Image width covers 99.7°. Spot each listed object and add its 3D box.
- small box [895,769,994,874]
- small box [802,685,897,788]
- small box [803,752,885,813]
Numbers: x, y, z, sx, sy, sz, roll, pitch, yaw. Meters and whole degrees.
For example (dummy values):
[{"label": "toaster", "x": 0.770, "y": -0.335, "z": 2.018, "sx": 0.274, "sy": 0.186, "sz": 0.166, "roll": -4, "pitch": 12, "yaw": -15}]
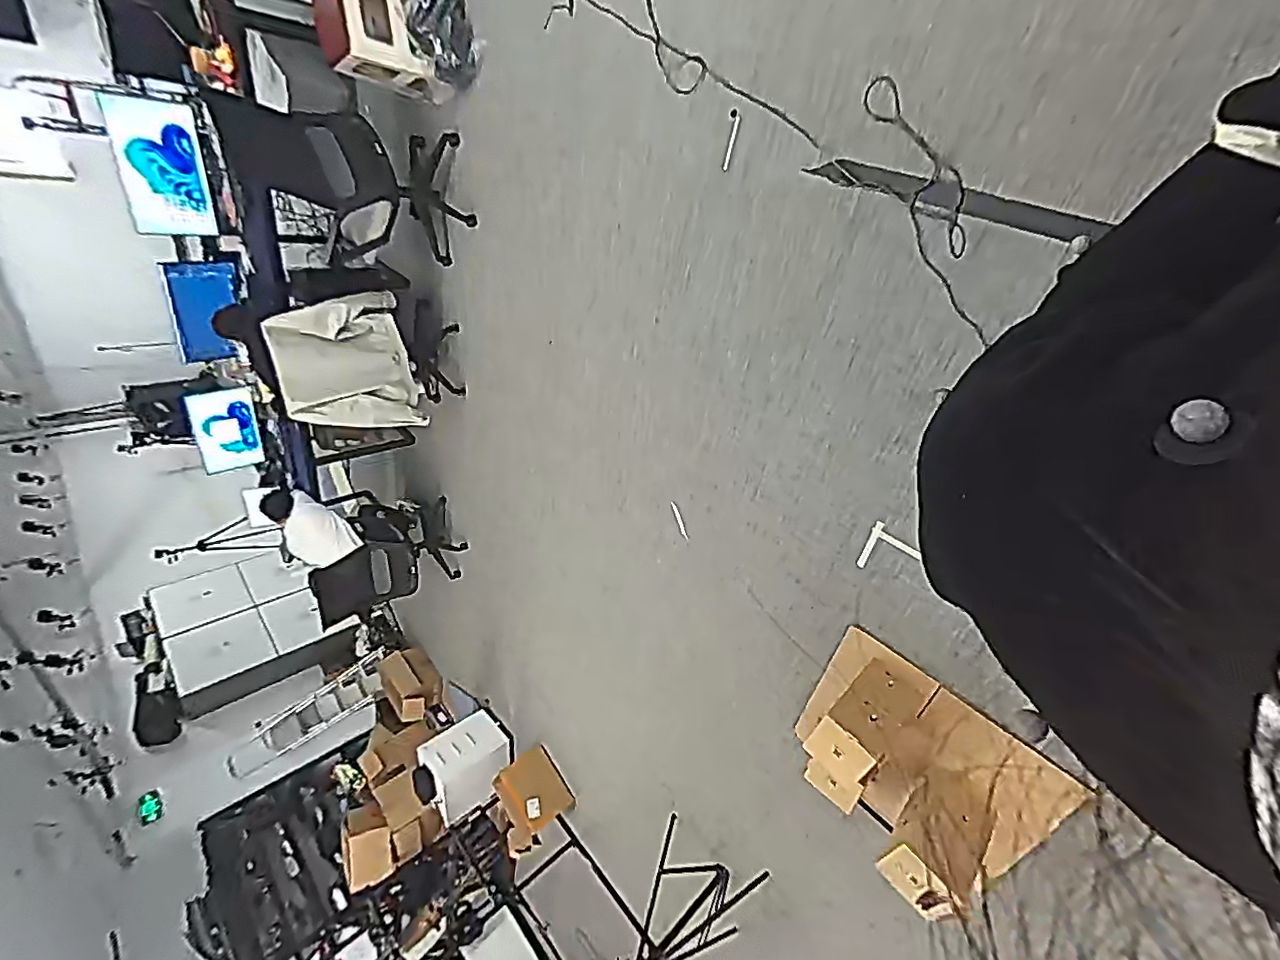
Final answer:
[{"label": "small box", "x": 0.910, "y": 1.011, "z": 1.609, "sx": 0.179, "sy": 0.176, "sz": 0.168, "roll": 43, "pitch": 132, "yaw": 25}, {"label": "small box", "x": 0.613, "y": 0.742, "z": 1.575, "sx": 0.168, "sy": 0.176, "sz": 0.179, "roll": 39, "pitch": 130, "yaw": 30}, {"label": "small box", "x": 0.691, "y": 0.967, "z": 1.833, "sx": 0.179, "sy": 0.176, "sz": 0.168, "roll": 32, "pitch": 128, "yaw": 36}]
